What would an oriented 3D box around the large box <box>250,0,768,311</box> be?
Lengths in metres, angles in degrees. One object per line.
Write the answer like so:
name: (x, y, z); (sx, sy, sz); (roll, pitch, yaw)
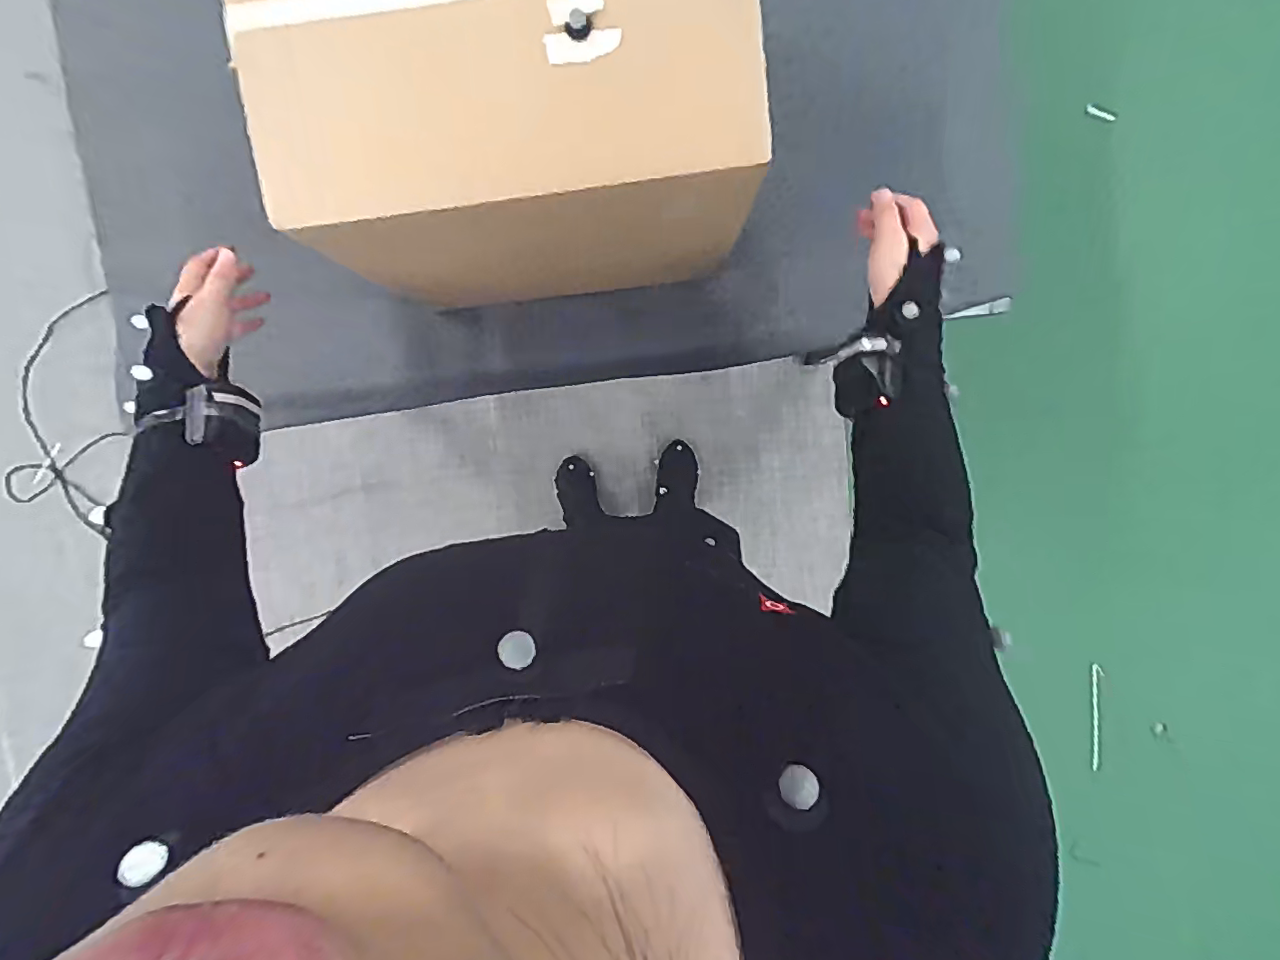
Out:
large box: (-0.112, -0.395, 0.578); (0.408, 0.320, 0.320); (-8, 96, 1)
